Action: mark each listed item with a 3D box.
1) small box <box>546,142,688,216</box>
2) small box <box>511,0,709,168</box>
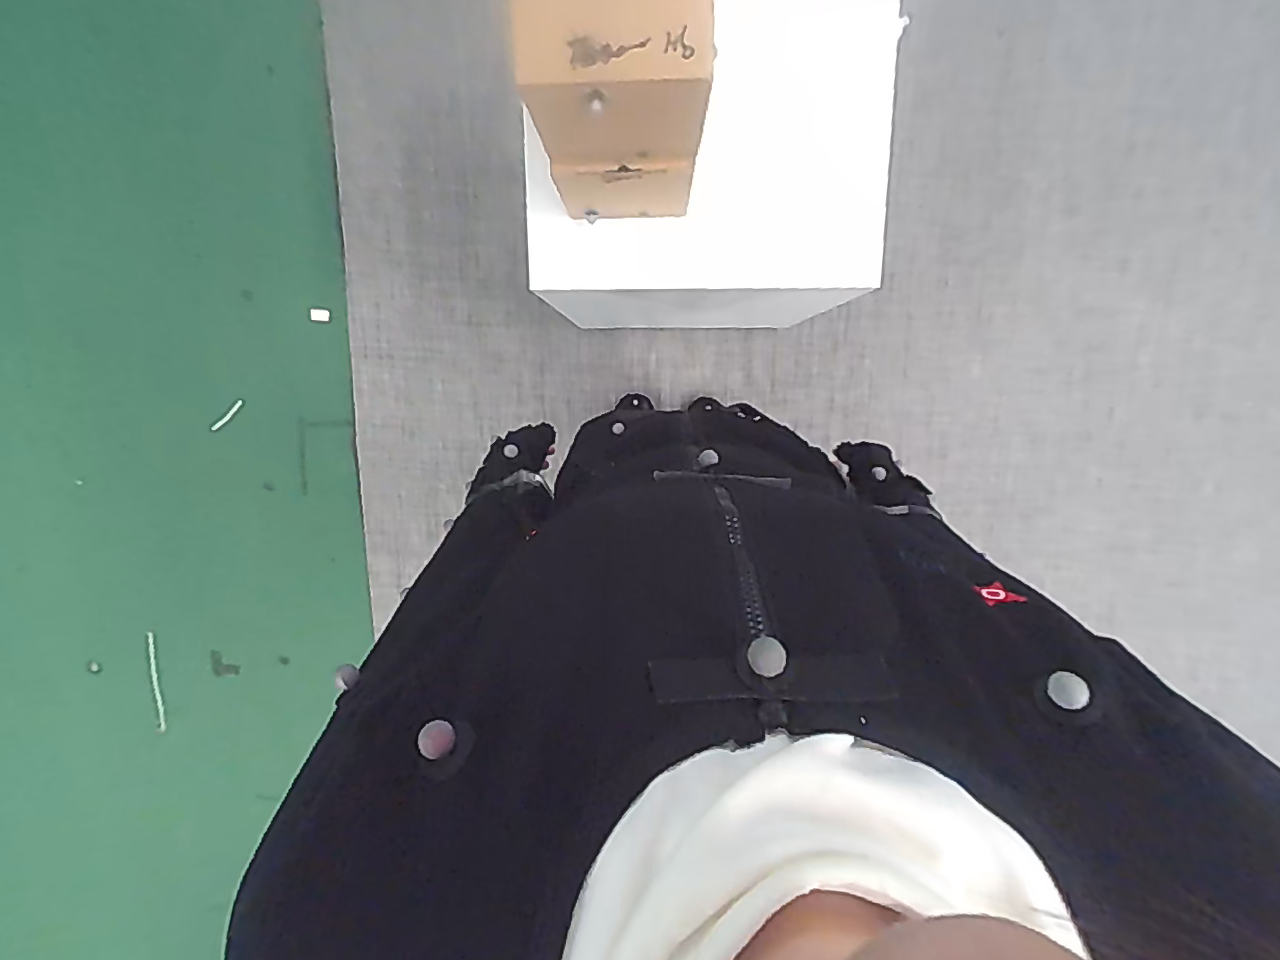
[{"bbox_3d":[-0.023,-0.445,0.680,0.168,0.176,0.179,-1,99,1],"label":"small box"},{"bbox_3d":[-0.024,-0.428,0.518,0.168,0.176,0.179,-1,99,2],"label":"small box"}]
